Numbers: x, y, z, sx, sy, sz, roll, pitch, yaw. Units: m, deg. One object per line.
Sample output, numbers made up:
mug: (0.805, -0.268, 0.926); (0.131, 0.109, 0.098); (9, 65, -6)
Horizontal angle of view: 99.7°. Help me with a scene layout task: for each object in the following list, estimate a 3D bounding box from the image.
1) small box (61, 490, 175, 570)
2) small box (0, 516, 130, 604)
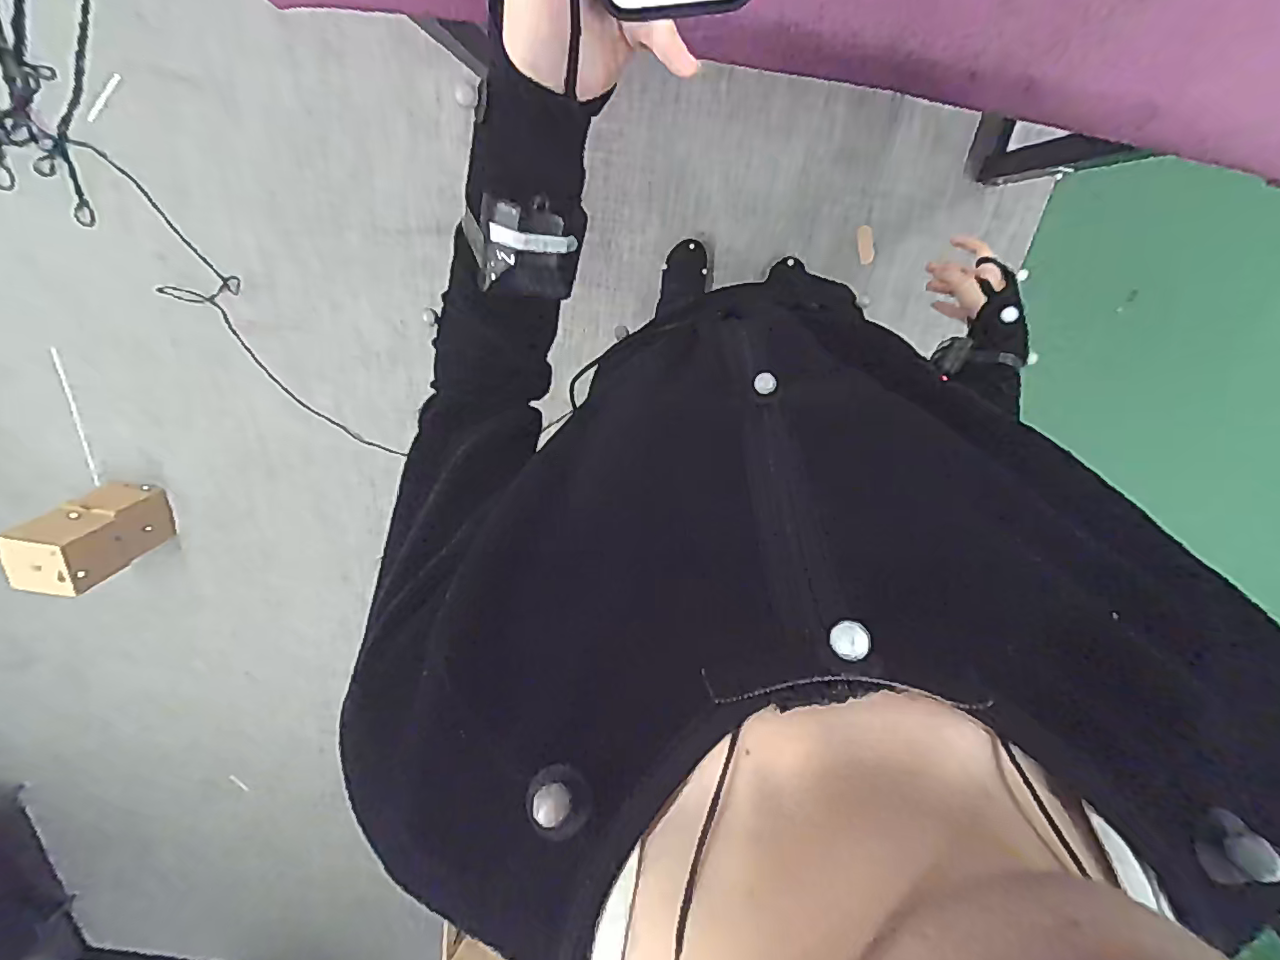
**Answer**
small box: (-1.573, 0.145, 1.642); (0.168, 0.176, 0.179); (9, 114, 1)
small box: (-1.583, 0.215, 1.494); (0.179, 0.176, 0.168); (10, 114, 0)
